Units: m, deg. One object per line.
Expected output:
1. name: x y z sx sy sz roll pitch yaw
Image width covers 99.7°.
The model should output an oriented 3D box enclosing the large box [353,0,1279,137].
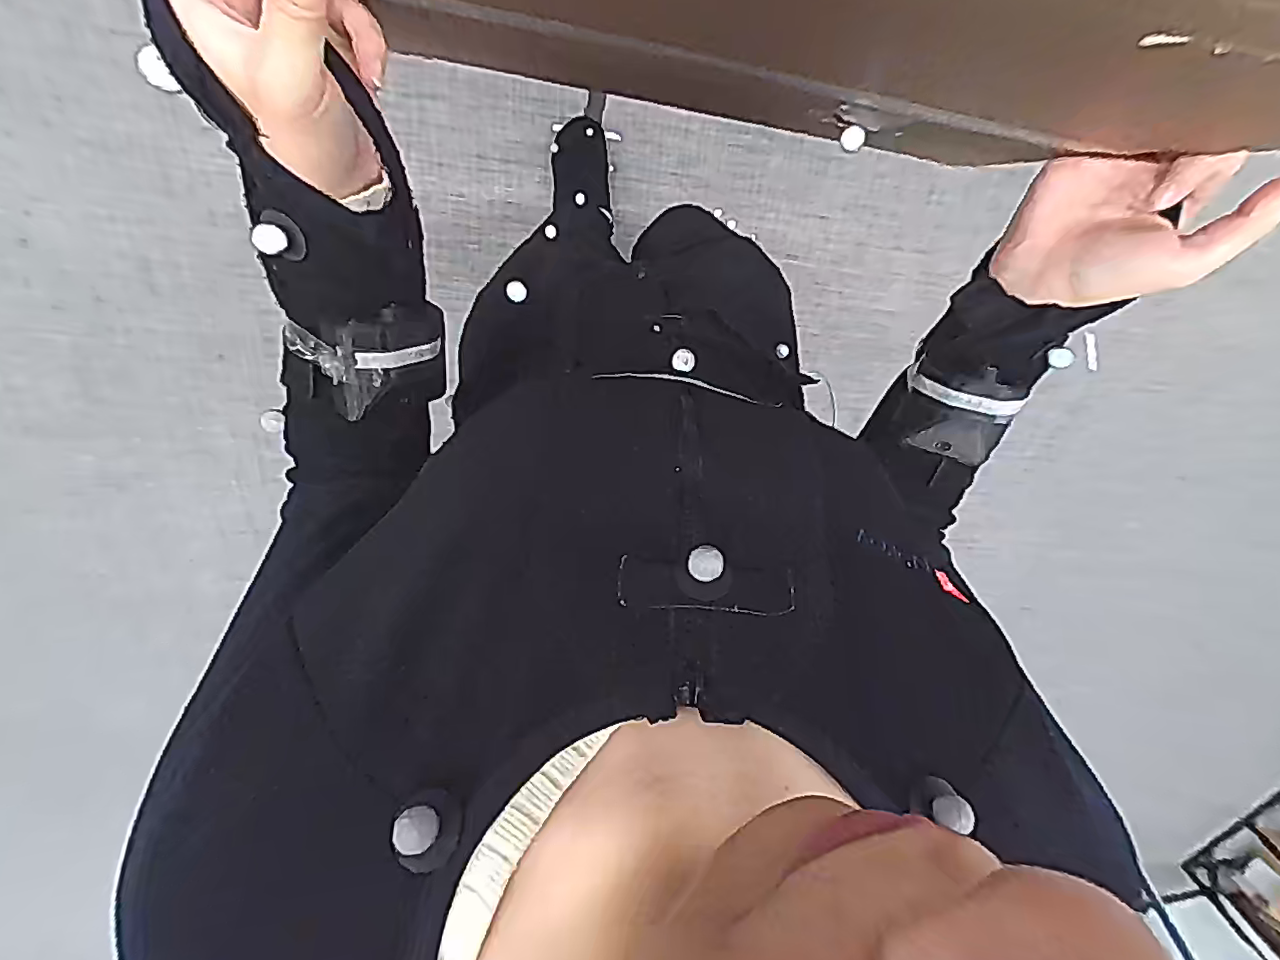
1. large box: 0.079 -0.325 0.158 0.408 0.320 0.320 3 119 -11
